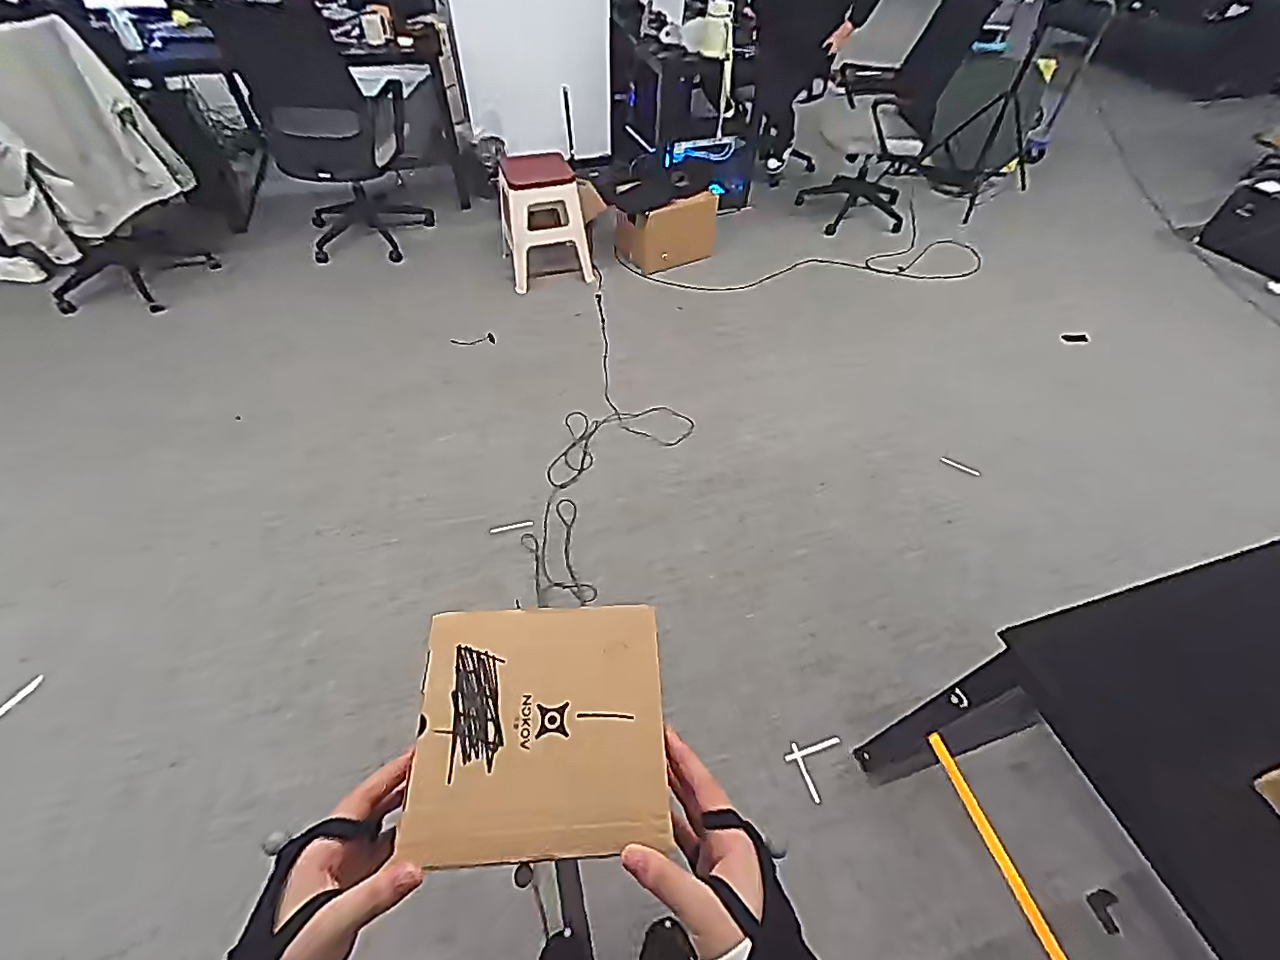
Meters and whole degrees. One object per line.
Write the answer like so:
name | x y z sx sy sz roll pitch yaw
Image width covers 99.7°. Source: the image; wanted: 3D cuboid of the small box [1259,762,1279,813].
small box | 0.878 0.367 0.595 0.179 0.176 0.168 -15 52 -12

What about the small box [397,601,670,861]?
small box | -0.073 0.213 0.452 0.179 0.176 0.168 -2 55 -4
